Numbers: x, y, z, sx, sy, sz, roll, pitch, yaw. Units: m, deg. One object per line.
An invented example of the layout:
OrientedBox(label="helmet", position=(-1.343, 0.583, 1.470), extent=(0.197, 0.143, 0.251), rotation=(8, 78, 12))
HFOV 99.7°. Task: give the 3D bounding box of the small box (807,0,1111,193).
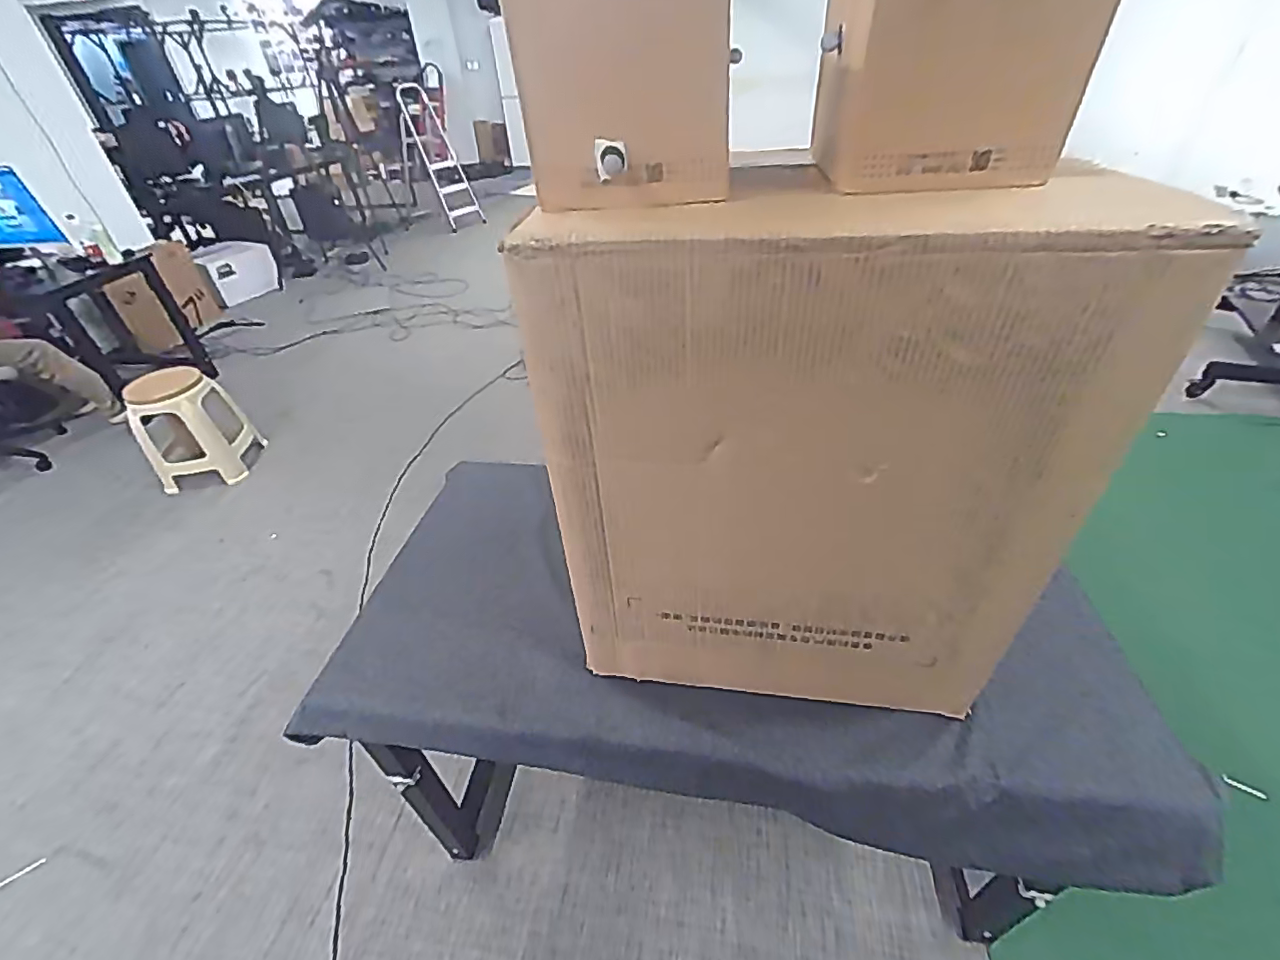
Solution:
OrientedBox(label="small box", position=(0.244, -0.352, 0.454), extent=(0.168, 0.176, 0.179), rotation=(-1, 40, 6))

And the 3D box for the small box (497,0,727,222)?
OrientedBox(label="small box", position=(-0.010, -0.344, 0.479), extent=(0.168, 0.176, 0.179), rotation=(-2, 42, 8))
